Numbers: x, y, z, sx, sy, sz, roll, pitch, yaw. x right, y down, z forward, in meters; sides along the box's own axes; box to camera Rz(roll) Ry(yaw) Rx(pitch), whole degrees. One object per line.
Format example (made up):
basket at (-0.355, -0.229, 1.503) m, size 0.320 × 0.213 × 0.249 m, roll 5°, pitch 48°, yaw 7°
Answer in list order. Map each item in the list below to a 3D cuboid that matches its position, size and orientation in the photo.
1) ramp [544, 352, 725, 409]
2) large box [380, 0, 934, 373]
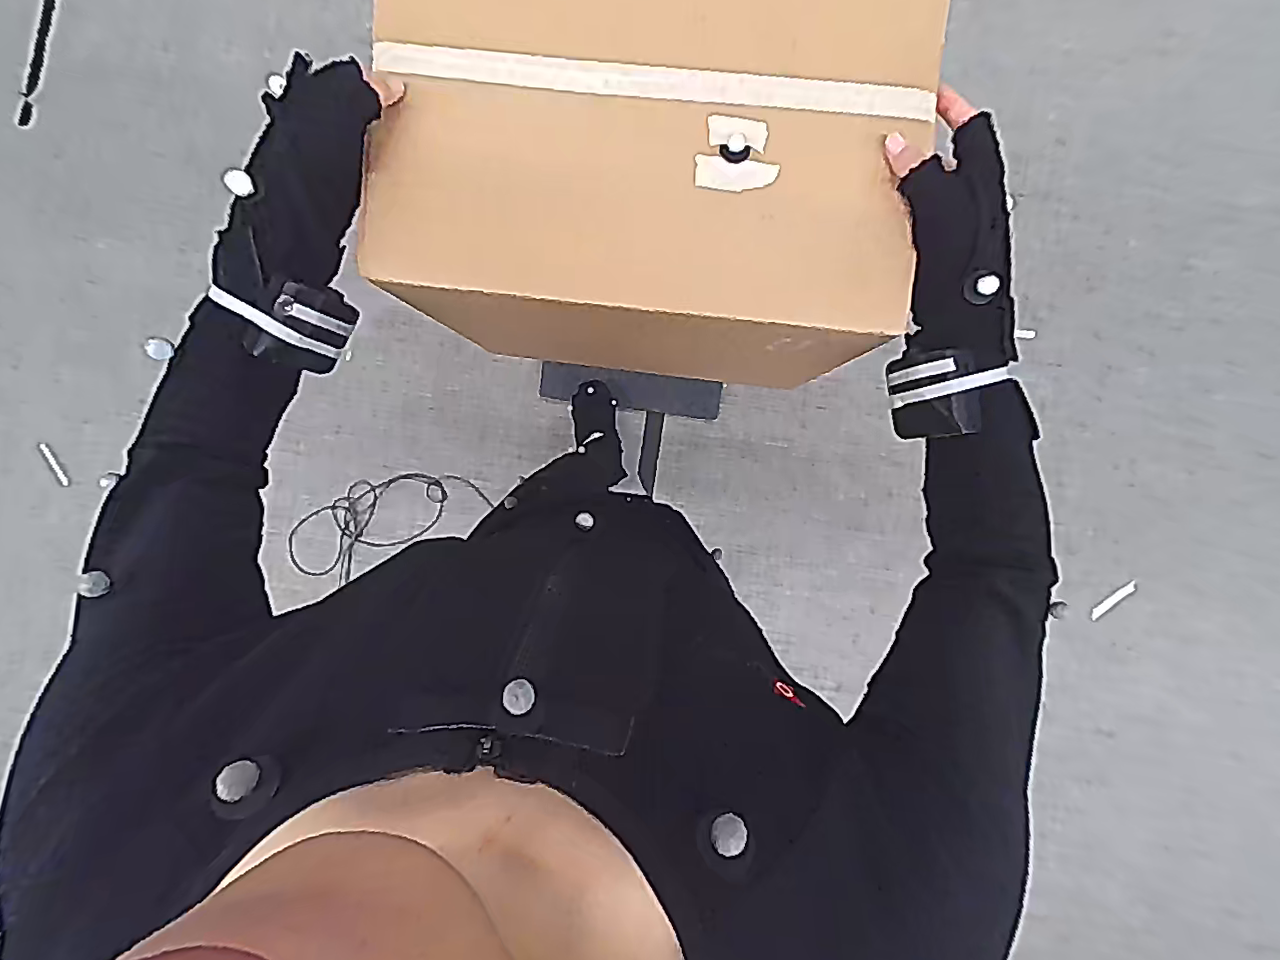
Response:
ramp at (0.039, -0.709, 1.409) m, size 0.509 × 0.206 × 0.991 m, roll 6°, pitch 89°, yaw -1°
large box at (0.013, -0.302, 0.552) m, size 0.408 × 0.320 × 0.320 m, roll 6°, pitch 93°, yaw 1°
